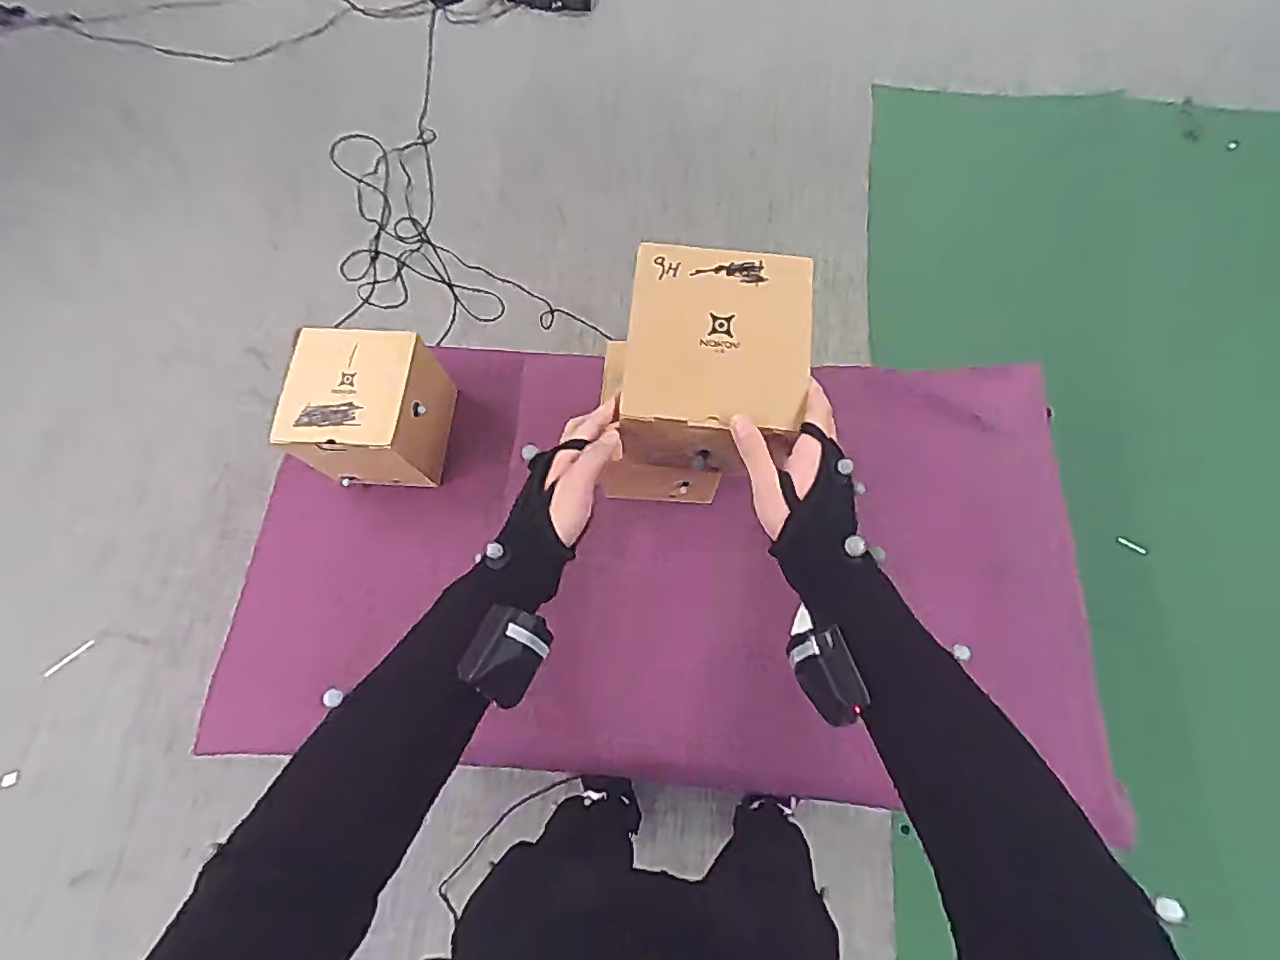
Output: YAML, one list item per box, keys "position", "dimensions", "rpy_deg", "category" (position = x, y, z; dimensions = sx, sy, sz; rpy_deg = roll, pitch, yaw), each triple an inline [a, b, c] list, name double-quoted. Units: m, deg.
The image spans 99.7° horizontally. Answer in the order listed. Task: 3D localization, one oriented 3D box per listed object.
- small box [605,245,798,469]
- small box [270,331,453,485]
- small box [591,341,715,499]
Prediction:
- position: [0.060, -0.115, 0.568]
  dimensions: [0.168, 0.176, 0.179]
  rpy_deg: [5, 78, 2]
  category: "small box"
- position: [-0.395, -0.099, 0.802]
  dimensions: [0.168, 0.176, 0.179]
  rpy_deg: [2, 71, 3]
  category: "small box"
- position: [0.028, -0.078, 0.782]
  dimensions: [0.168, 0.176, 0.179]
  rpy_deg: [3, 71, 3]
  category: "small box"
